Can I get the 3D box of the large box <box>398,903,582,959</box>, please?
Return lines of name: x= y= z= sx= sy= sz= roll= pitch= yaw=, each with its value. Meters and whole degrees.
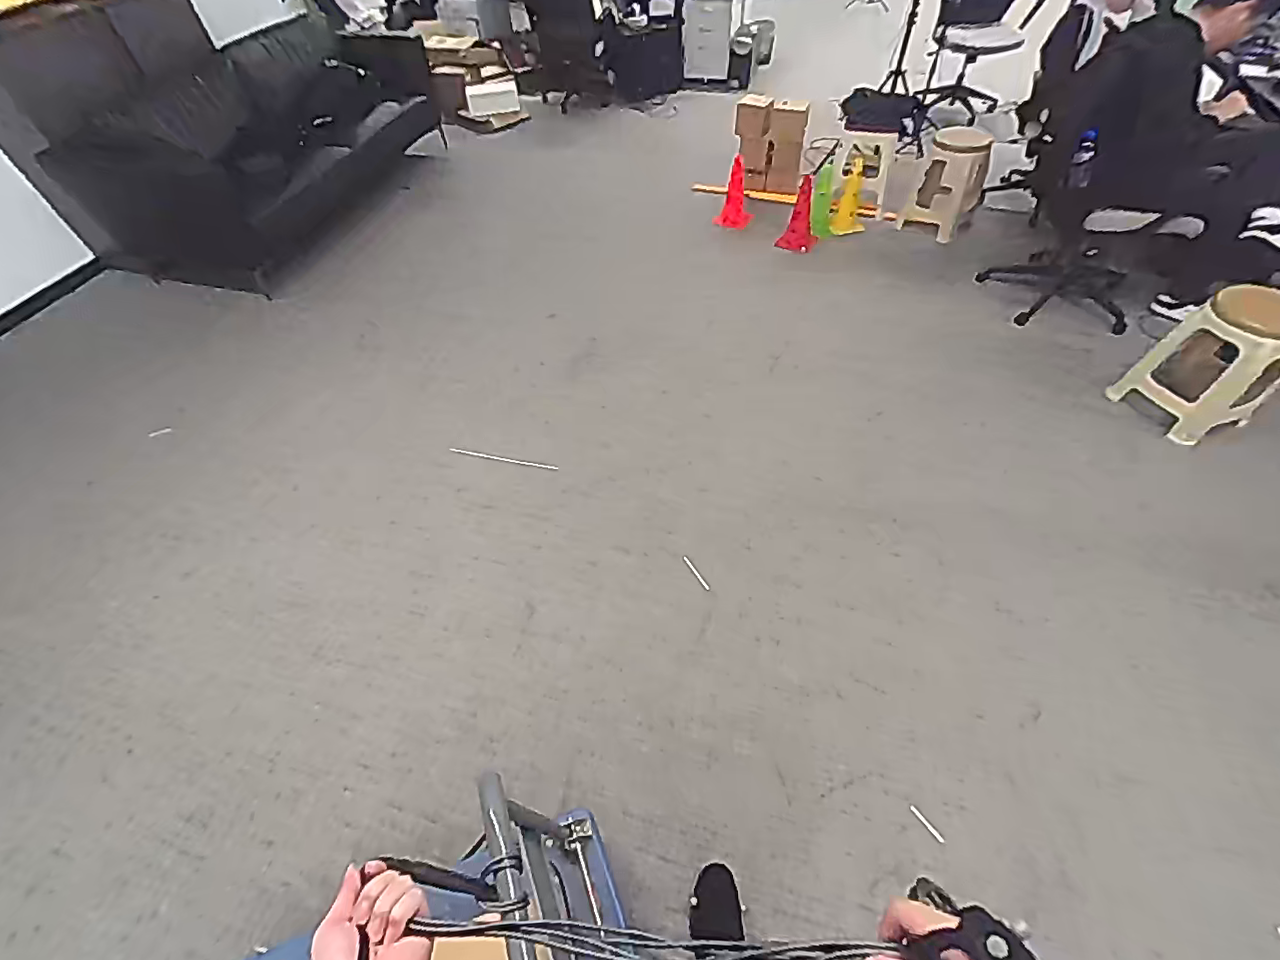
large box: x=-0.290 y=0.952 z=0.885 sx=0.408 sy=0.320 sz=0.320 roll=-16 pitch=52 yaw=-8
